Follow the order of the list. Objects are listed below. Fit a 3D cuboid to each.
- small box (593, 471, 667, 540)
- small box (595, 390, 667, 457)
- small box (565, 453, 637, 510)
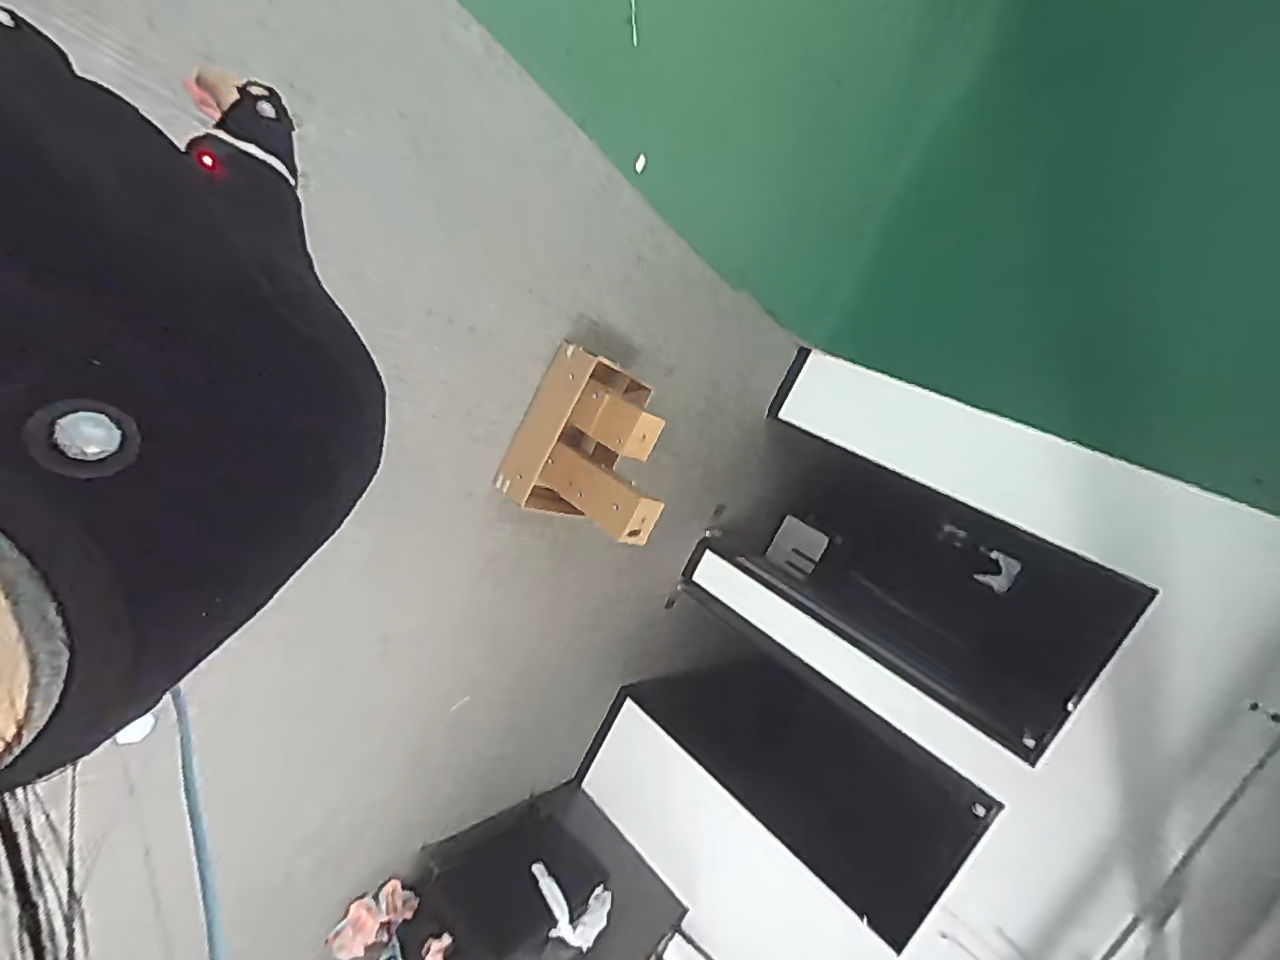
[{"bbox_3d":[-0.041,0.092,1.928,0.168,0.176,0.179,17,102,-55],"label":"small box"},{"bbox_3d":[-0.037,-0.210,1.983,0.168,0.176,0.179,12,109,-54],"label":"small box"},{"bbox_3d":[-0.151,0.014,2.022,0.179,0.176,0.168,17,103,-56],"label":"small box"}]
